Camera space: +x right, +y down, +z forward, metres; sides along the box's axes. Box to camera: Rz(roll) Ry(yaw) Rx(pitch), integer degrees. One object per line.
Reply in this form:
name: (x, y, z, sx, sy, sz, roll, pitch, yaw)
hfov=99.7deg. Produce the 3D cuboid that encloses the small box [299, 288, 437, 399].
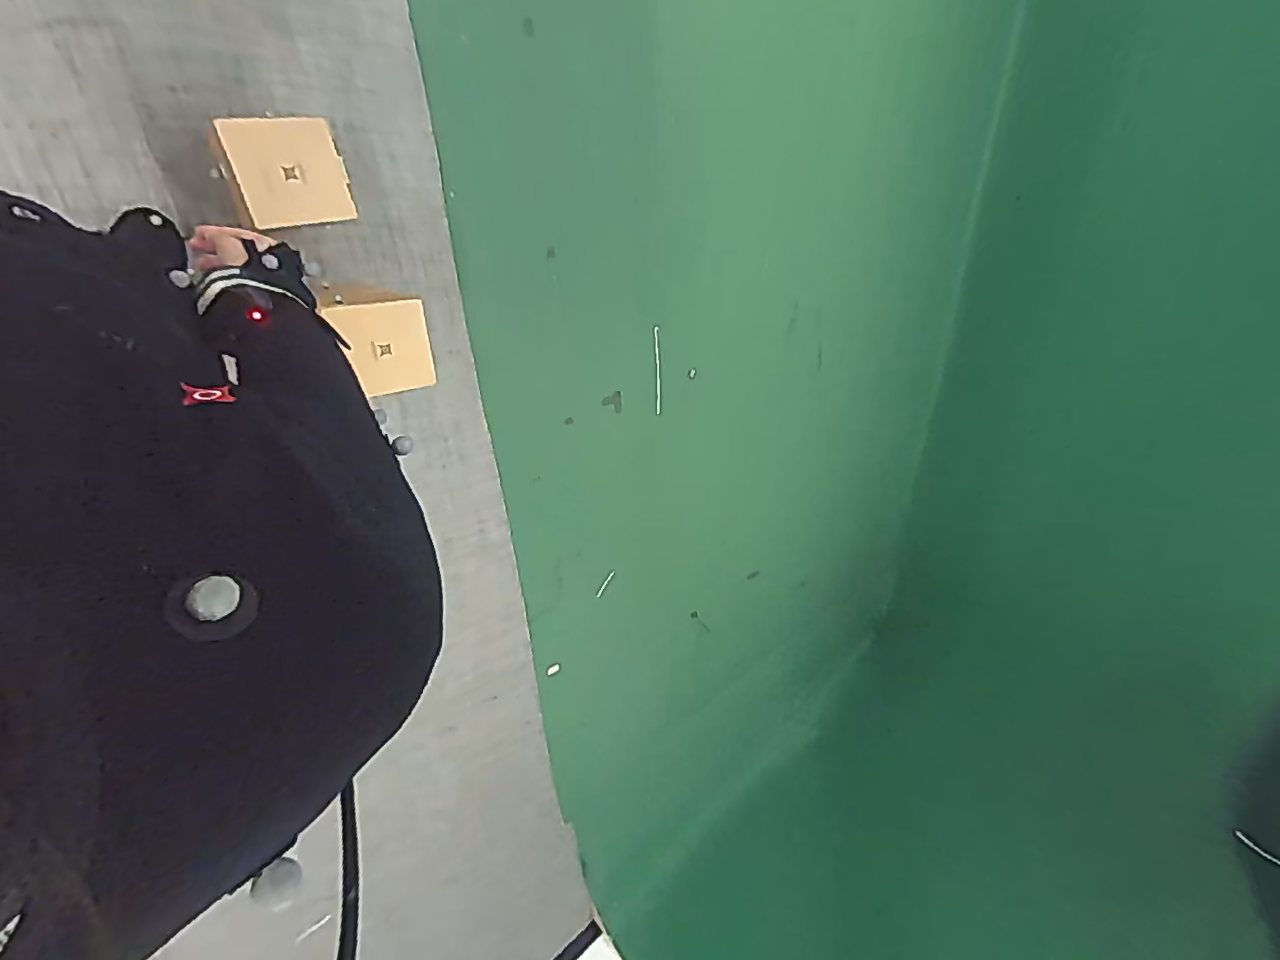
small box: (-0.520, -0.270, 1.036, 0.179, 0.176, 0.168, -22, 124, -35)

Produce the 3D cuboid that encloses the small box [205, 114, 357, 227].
small box: (-0.662, -0.568, 0.998, 0.179, 0.176, 0.168, -27, 125, -31)

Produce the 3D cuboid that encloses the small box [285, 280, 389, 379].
small box: (-0.628, -0.325, 1.145, 0.179, 0.176, 0.168, -22, 124, -34)
